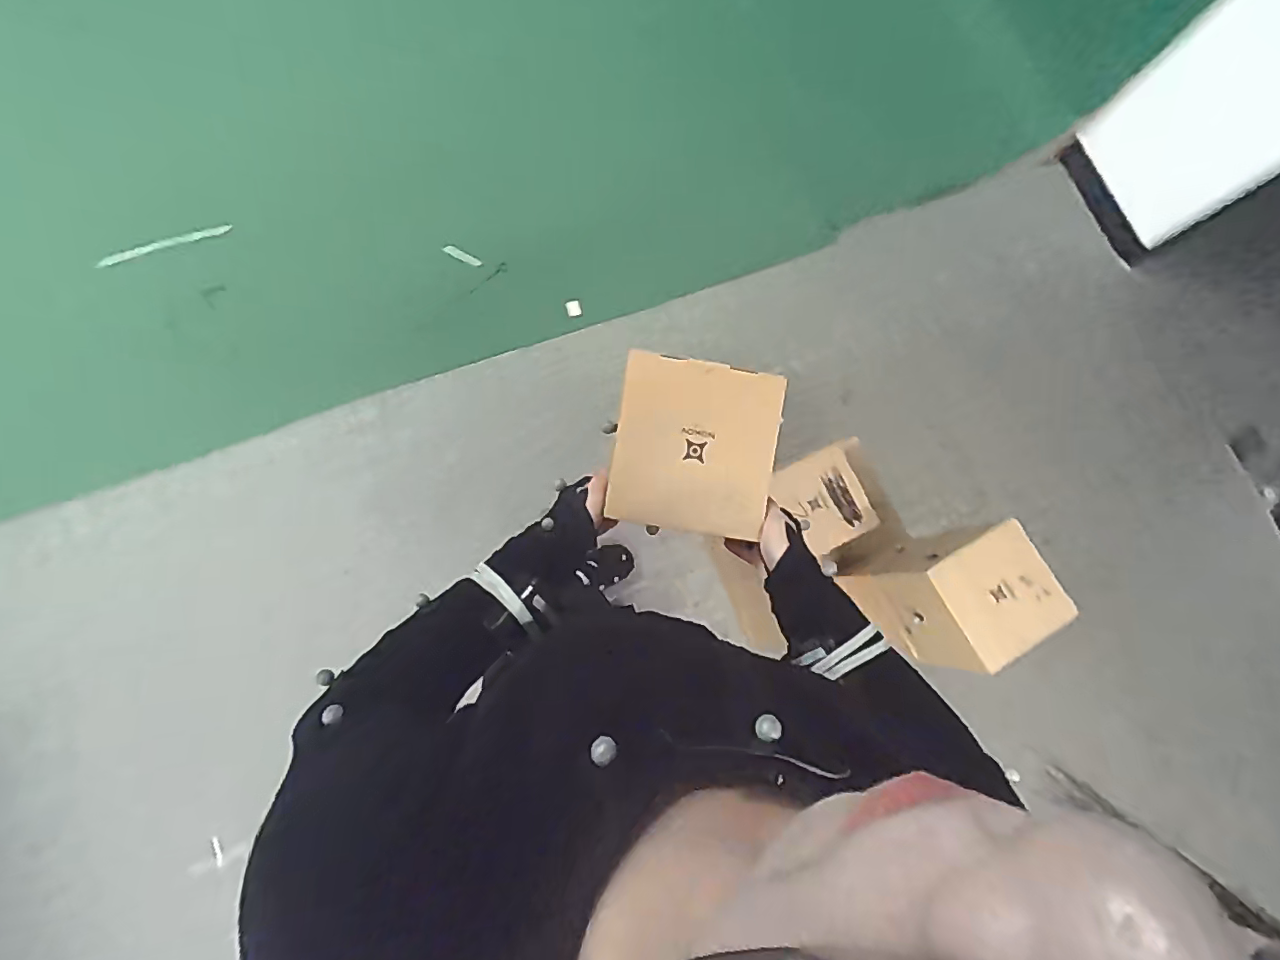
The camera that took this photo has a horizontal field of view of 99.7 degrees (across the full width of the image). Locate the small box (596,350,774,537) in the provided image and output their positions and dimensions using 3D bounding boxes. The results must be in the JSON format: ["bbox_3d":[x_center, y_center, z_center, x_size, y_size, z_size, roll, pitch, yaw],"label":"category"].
[{"bbox_3d":[0.043,-0.039,0.642,0.168,0.176,0.179,9,90,-4],"label":"small box"}]

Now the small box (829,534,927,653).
[{"bbox_3d":[0.502,0.210,1.039,0.179,0.176,0.168,-25,81,-8],"label":"small box"}]

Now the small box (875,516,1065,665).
[{"bbox_3d":[0.515,0.177,0.878,0.179,0.176,0.168,-27,83,-10],"label":"small box"}]
